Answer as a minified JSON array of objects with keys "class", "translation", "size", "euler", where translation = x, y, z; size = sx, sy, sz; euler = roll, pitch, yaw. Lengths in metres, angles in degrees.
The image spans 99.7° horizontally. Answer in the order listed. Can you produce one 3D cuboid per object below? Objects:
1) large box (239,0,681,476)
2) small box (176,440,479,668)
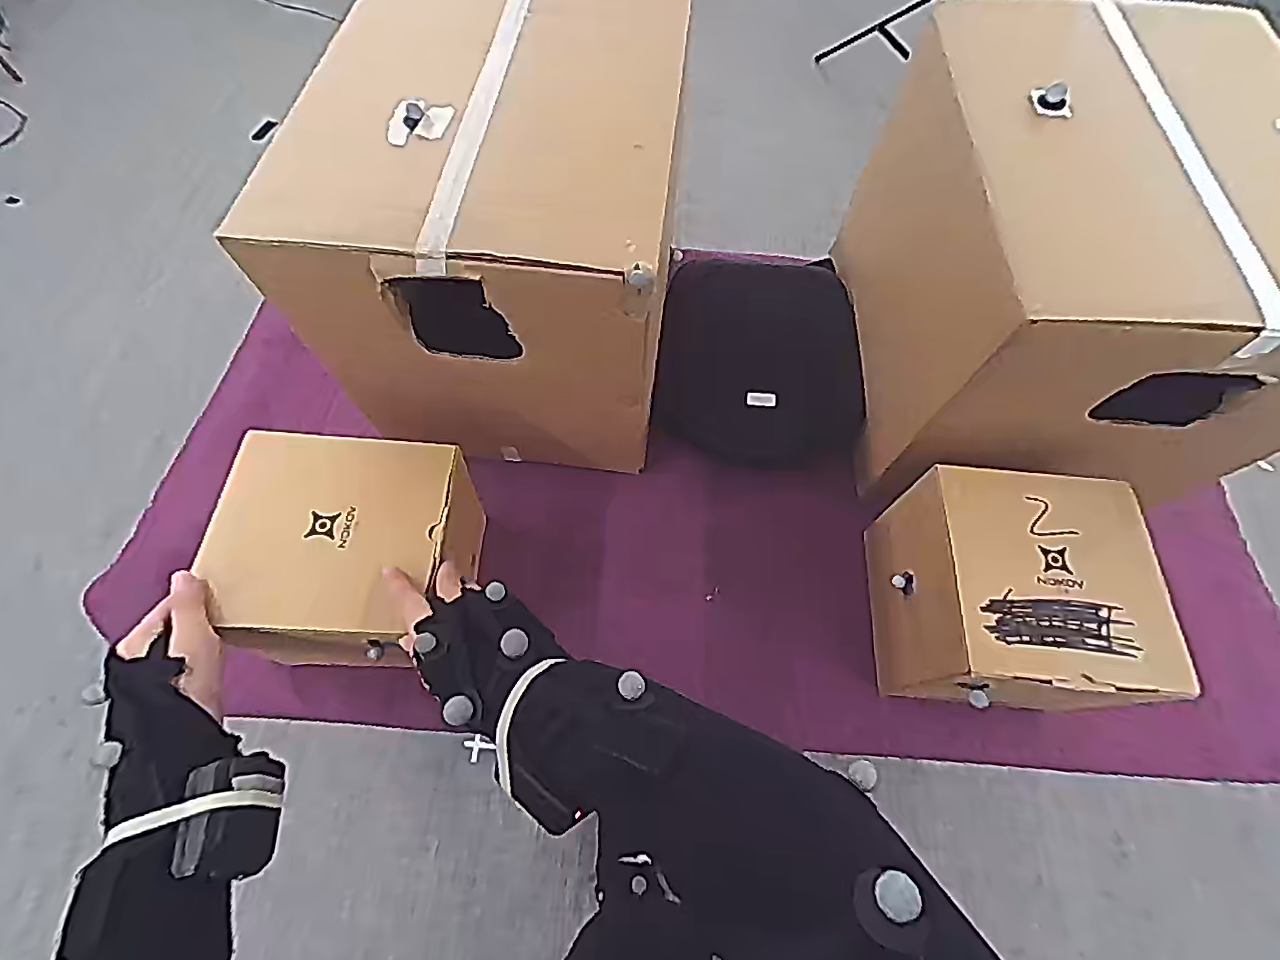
[{"class":"large box","translation":[-0.130,-0.257,0.604],"size":[0.320,0.320,0.408],"euler":[5,67,2]},{"class":"small box","translation":[-0.261,0.078,0.507],"size":[0.179,0.176,0.168],"euler":[3,63,-7]}]
